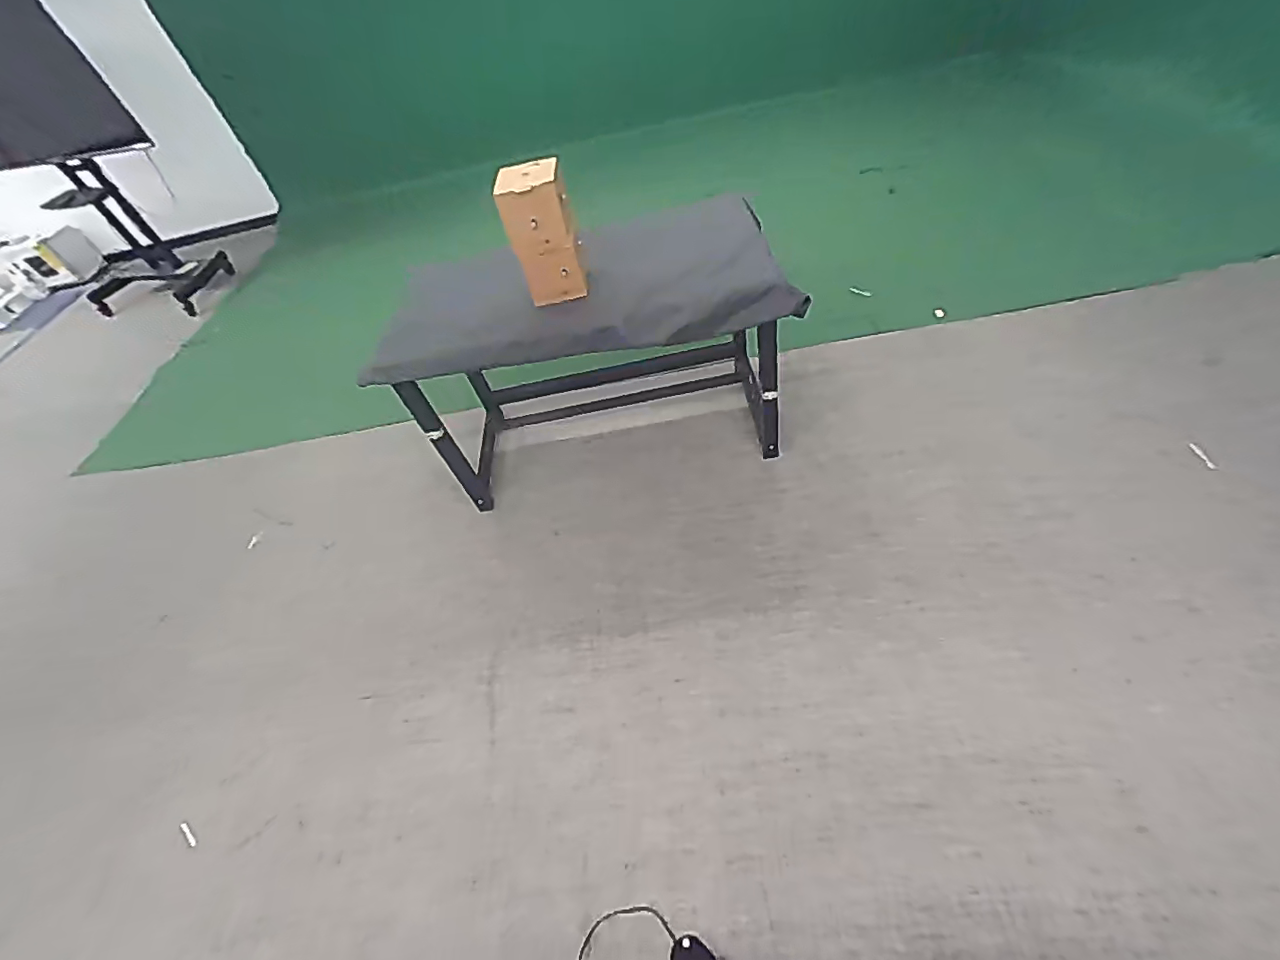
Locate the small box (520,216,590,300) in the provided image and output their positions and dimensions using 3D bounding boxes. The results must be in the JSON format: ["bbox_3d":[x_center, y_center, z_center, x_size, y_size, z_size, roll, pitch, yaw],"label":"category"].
[{"bbox_3d":[-0.249,-0.659,1.624,0.168,0.176,0.179,-10,48,4],"label":"small box"}]

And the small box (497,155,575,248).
[{"bbox_3d":[-0.281,-0.765,1.504,0.168,0.176,0.179,-8,51,5],"label":"small box"}]
